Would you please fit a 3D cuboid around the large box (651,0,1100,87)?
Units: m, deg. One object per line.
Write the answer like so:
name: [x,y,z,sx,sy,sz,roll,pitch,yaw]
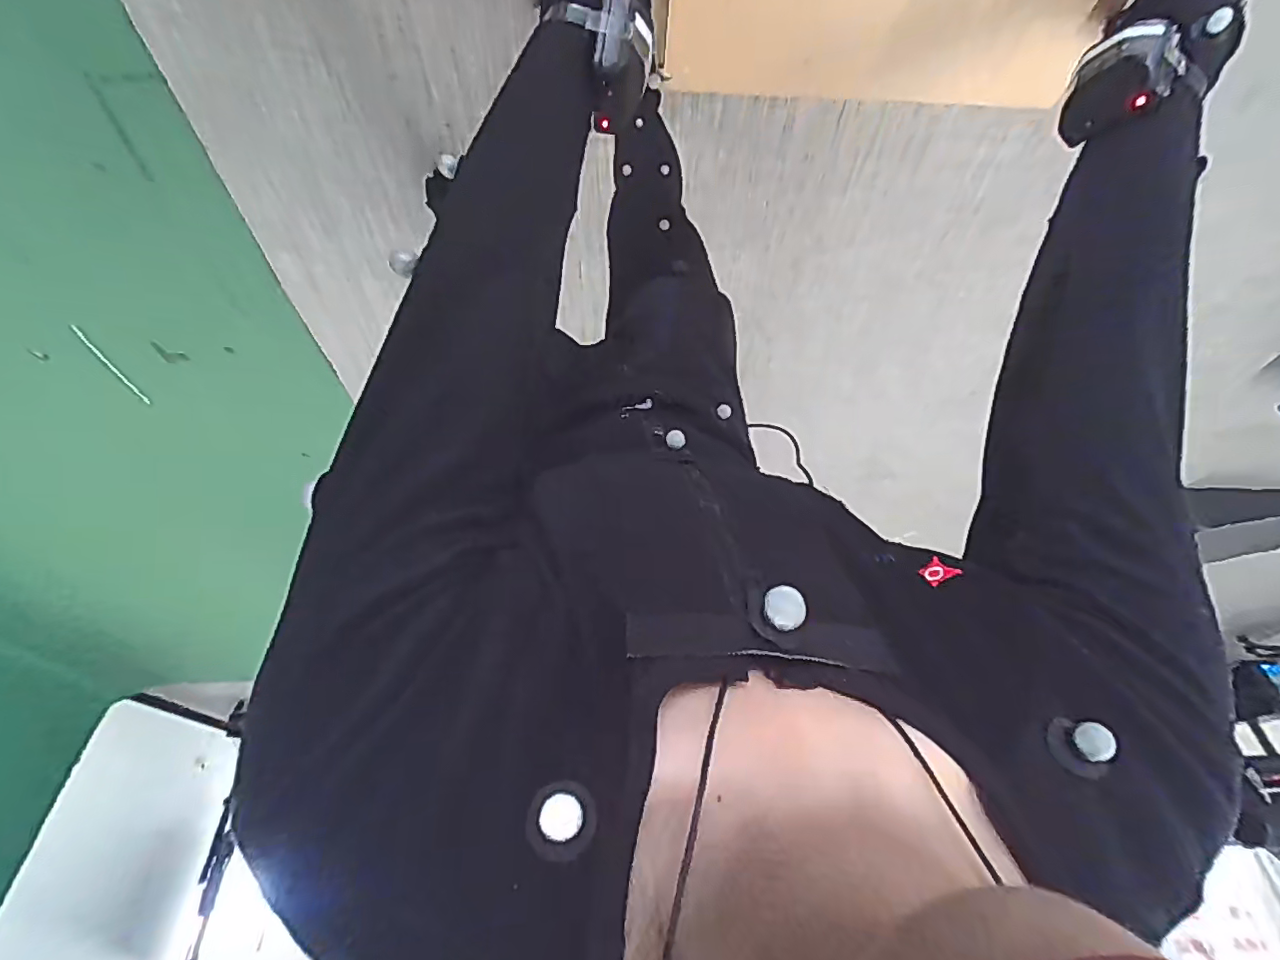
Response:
large box: [0.217,-0.601,0.469,0.408,0.320,0.320,2,152,-2]
